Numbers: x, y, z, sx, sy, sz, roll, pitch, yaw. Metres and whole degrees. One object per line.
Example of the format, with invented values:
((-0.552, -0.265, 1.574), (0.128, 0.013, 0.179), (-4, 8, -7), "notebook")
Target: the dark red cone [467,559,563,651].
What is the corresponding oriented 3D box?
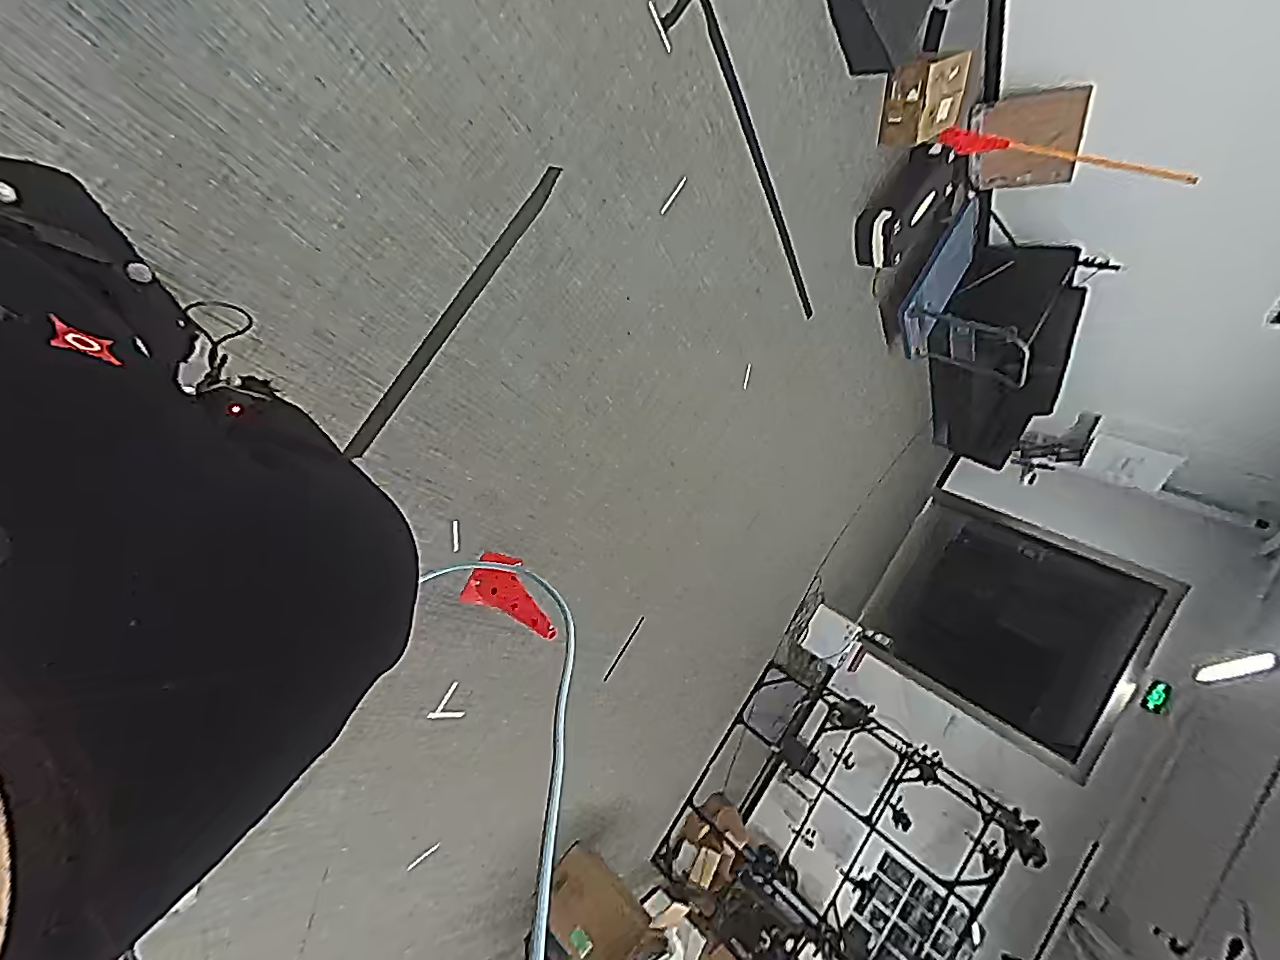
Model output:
((-0.389, 0.443, 1.818), (0.201, 0.394, 0.202), (27, 92, -53), "dark red cone")
